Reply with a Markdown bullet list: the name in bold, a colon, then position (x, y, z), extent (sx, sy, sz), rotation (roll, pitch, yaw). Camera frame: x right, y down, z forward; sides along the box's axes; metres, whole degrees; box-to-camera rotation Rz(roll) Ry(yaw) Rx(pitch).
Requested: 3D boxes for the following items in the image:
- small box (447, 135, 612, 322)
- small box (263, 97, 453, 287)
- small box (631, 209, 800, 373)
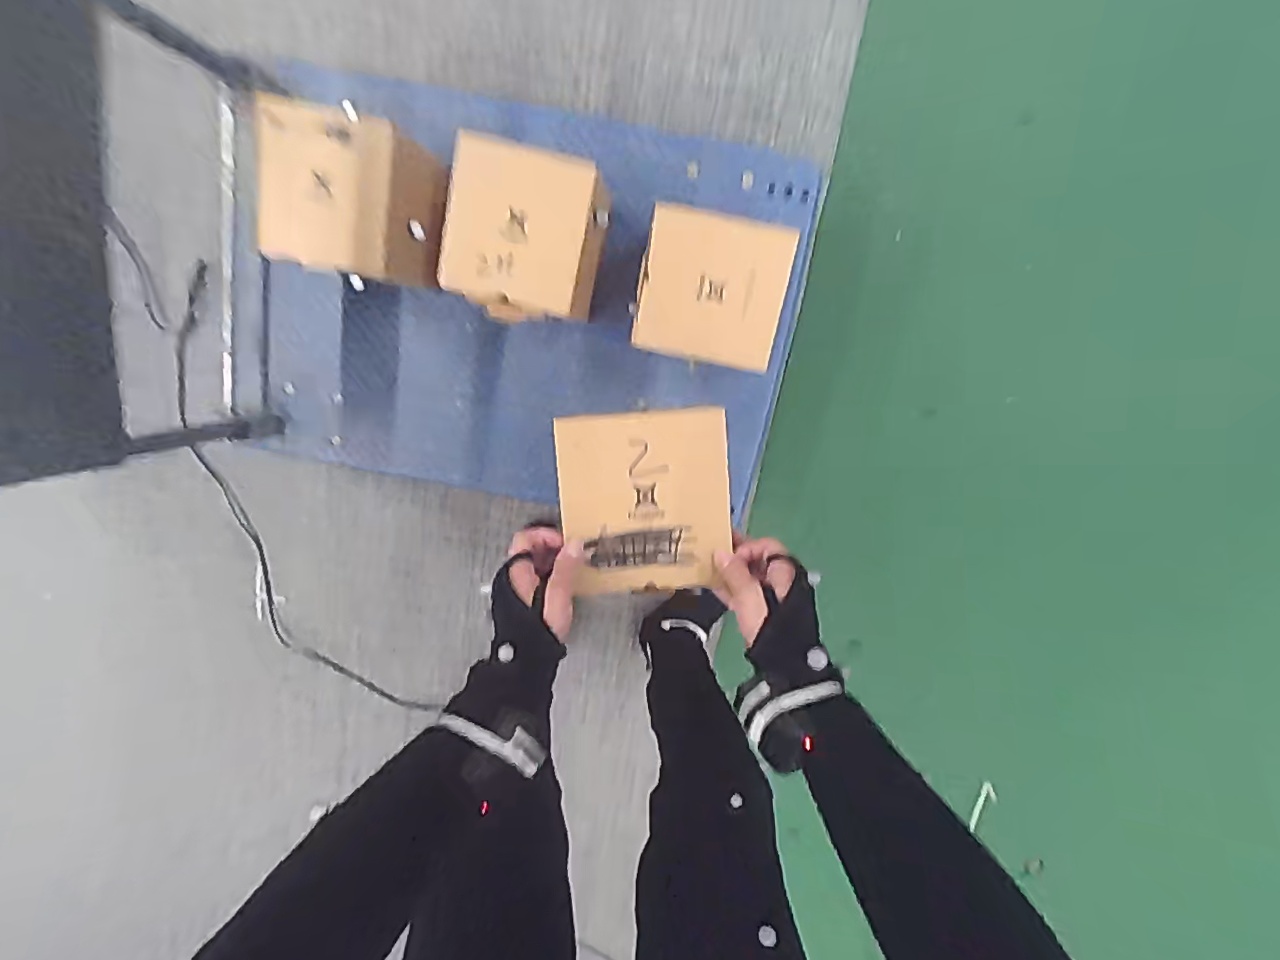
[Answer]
- **small box**: position (-0.139, -0.324, 0.734), extent (0.168, 0.176, 0.179), rotation (15, 104, 0)
- **small box**: position (-0.370, -0.372, 0.734), extent (0.168, 0.176, 0.179), rotation (13, 104, 0)
- **small box**: position (0.095, -0.248, 0.741), extent (0.179, 0.176, 0.168), rotation (13, 104, 0)
